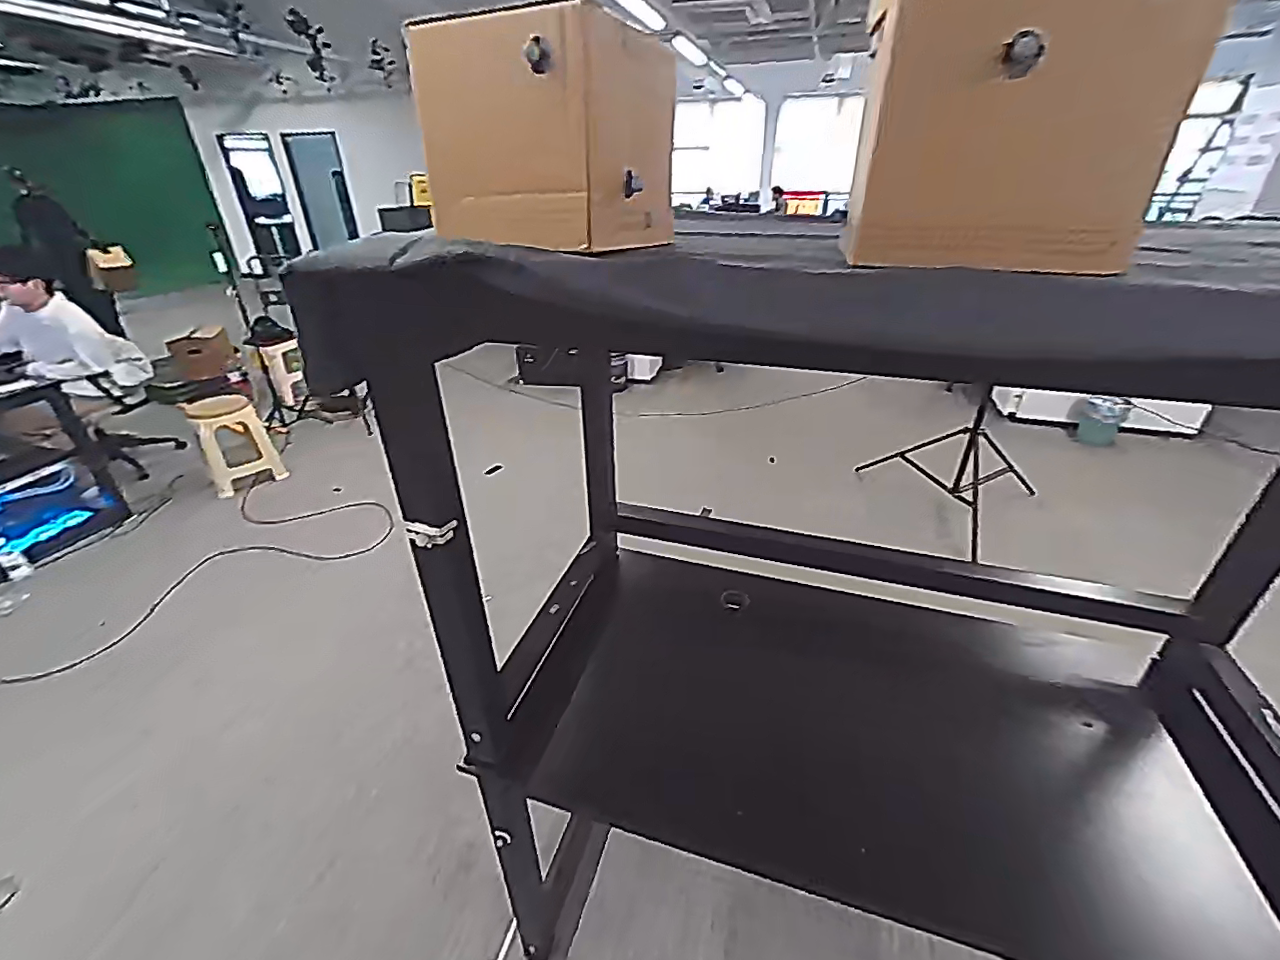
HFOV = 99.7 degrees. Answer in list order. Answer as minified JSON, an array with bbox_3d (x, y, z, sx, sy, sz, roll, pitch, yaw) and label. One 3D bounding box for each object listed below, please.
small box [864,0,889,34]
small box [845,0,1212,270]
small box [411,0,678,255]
[{"bbox_3d":[0.260,-0.404,0.343,0.179,0.176,0.168,4,27,9],"label":"small box"},{"bbox_3d":[0.260,-0.257,0.411,0.179,0.176,0.168,7,29,13],"label":"small box"},{"bbox_3d":[-0.078,-0.306,0.506,0.179,0.176,0.168,14,30,23],"label":"small box"}]
